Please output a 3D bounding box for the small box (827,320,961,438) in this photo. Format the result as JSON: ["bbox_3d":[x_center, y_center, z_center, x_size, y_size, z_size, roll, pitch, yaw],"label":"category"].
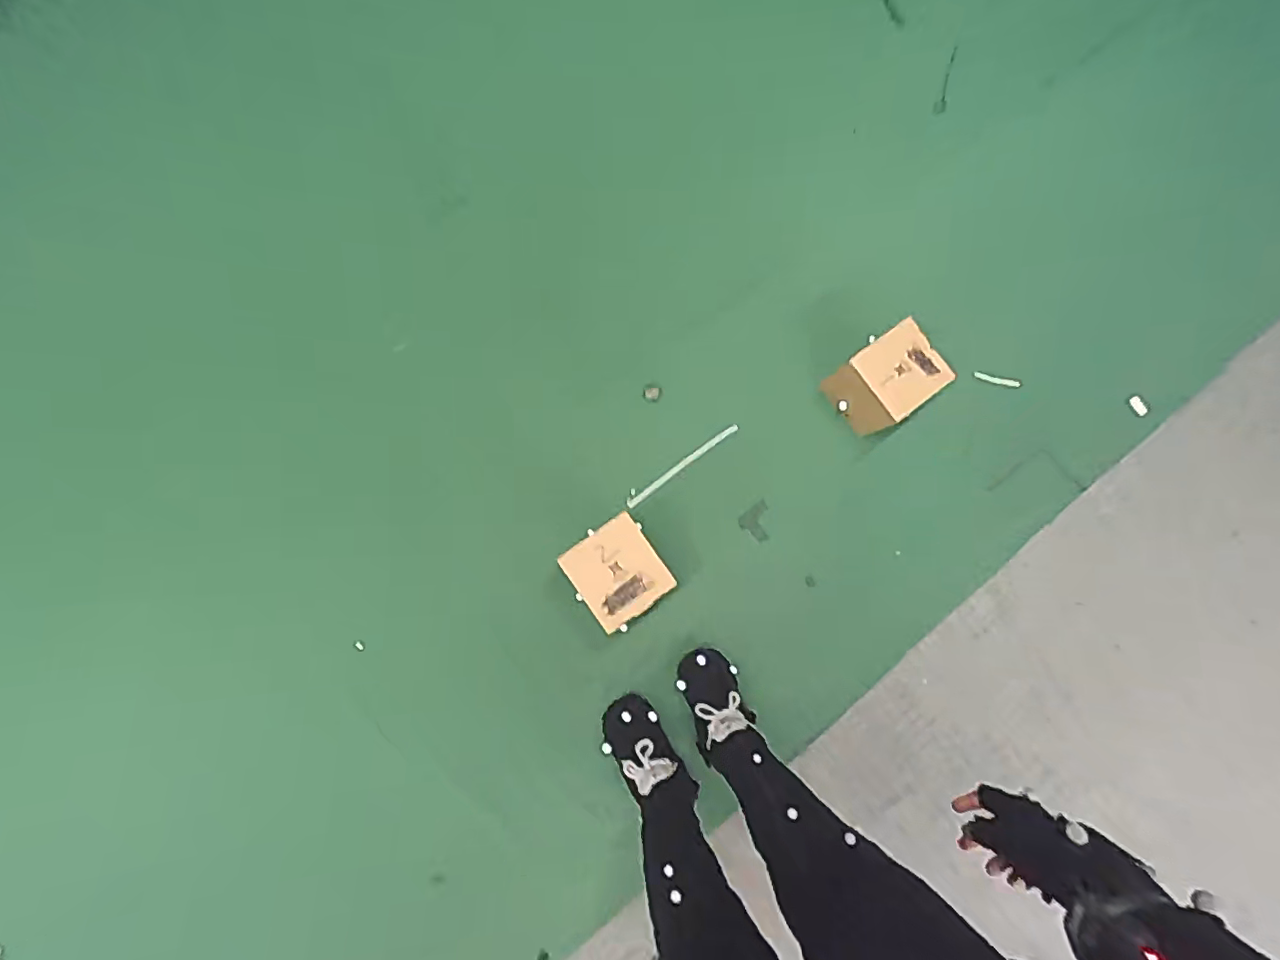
[{"bbox_3d":[0.557,-0.218,1.209,0.179,0.176,0.168,-36,86,-8],"label":"small box"}]
